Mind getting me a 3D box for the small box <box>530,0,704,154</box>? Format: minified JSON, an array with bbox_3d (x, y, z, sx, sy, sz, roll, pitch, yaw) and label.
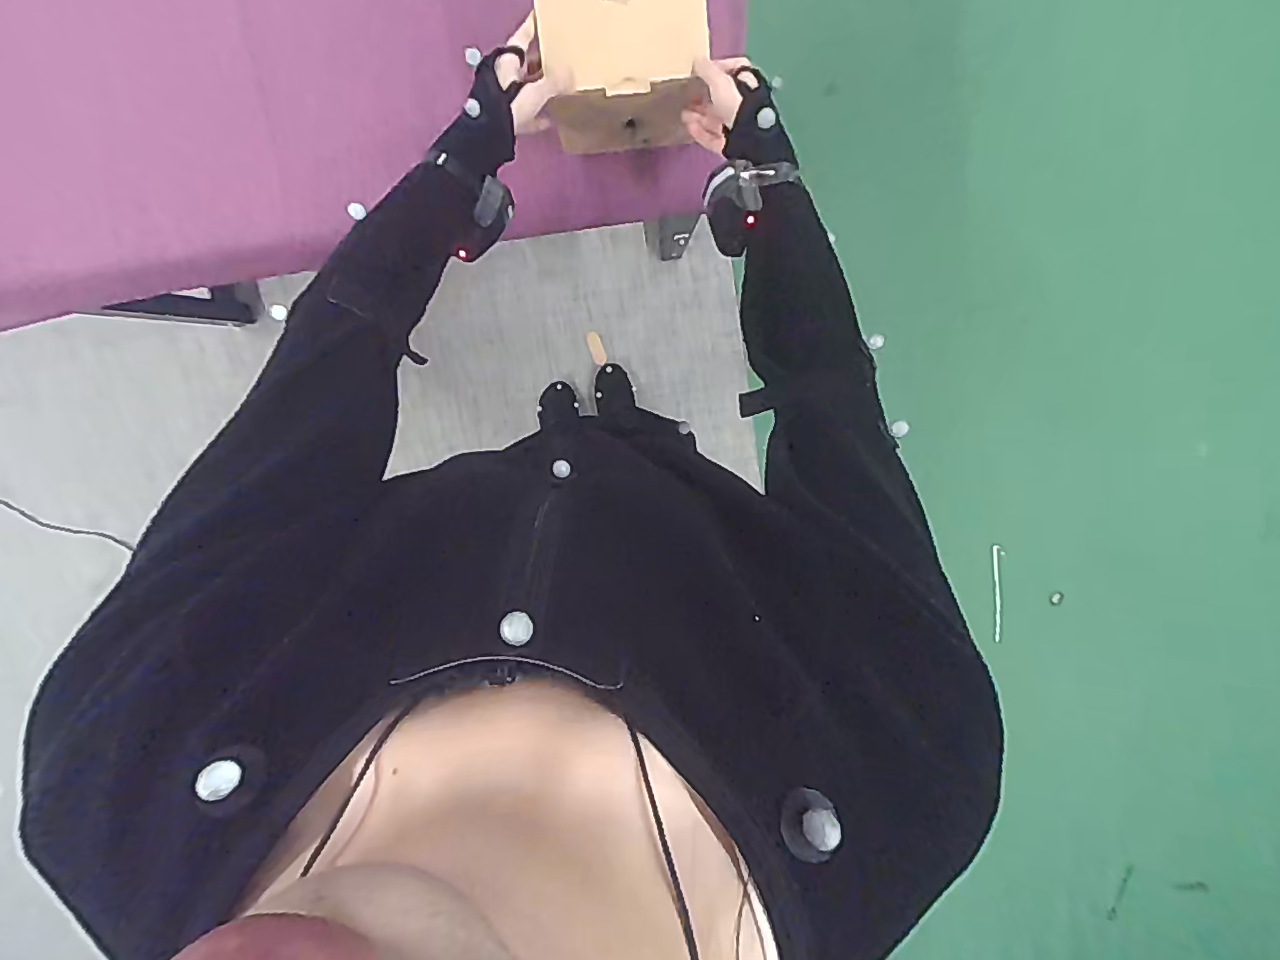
[{"bbox_3d":[-0.023,-0.478,0.592,0.168,0.176,0.179,-5,104,1],"label":"small box"}]
